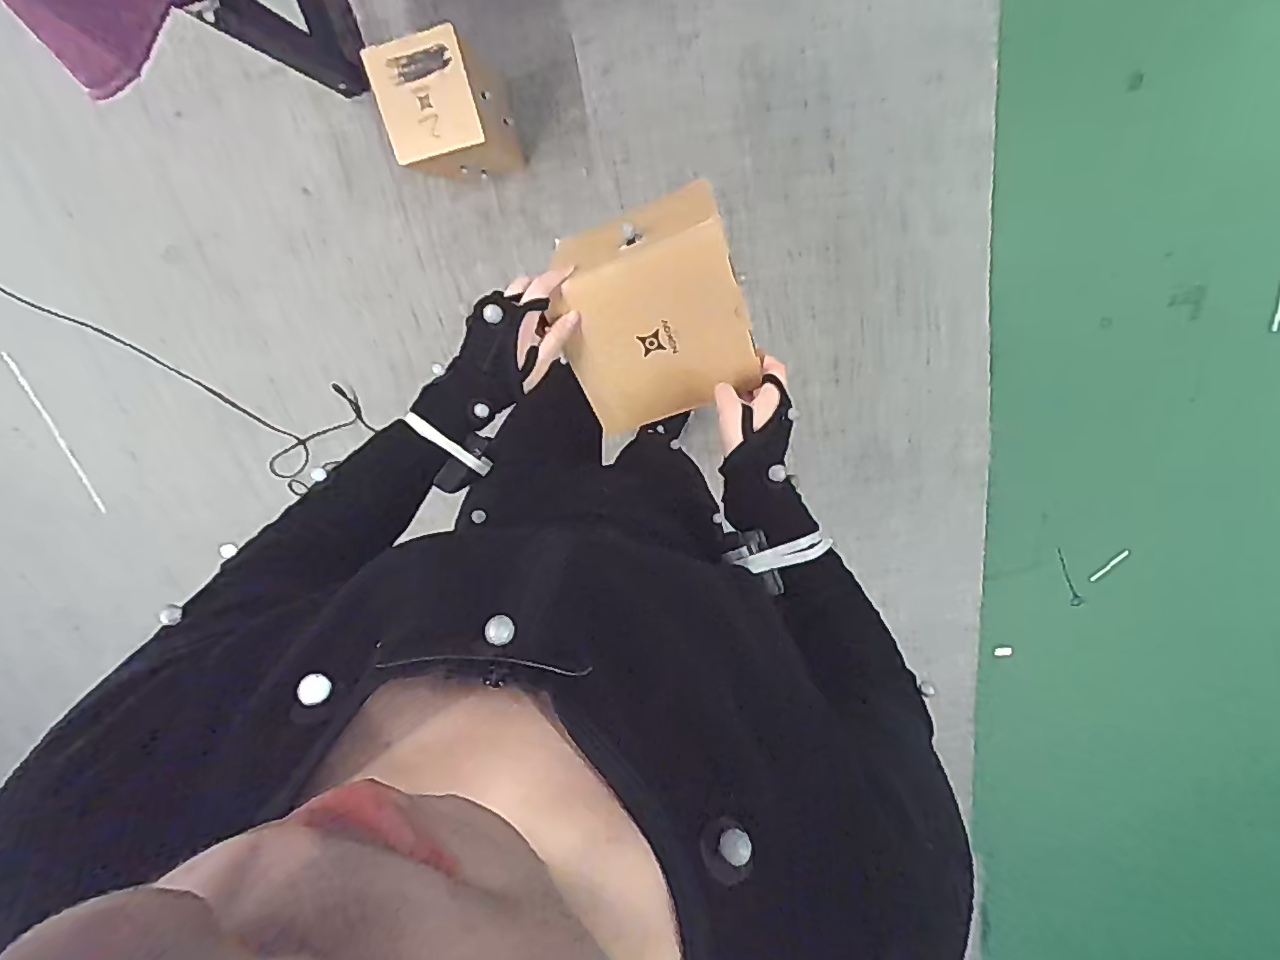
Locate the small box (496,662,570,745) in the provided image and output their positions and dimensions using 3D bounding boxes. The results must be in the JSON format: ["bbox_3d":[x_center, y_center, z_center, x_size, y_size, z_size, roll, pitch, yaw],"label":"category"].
[{"bbox_3d":[-0.328,0.702,1.712,0.179,0.176,0.168,-12,109,8],"label":"small box"}]

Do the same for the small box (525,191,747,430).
[{"bbox_3d":[0.003,-0.185,0.584,0.179,0.176,0.168,-17,126,13],"label":"small box"}]
